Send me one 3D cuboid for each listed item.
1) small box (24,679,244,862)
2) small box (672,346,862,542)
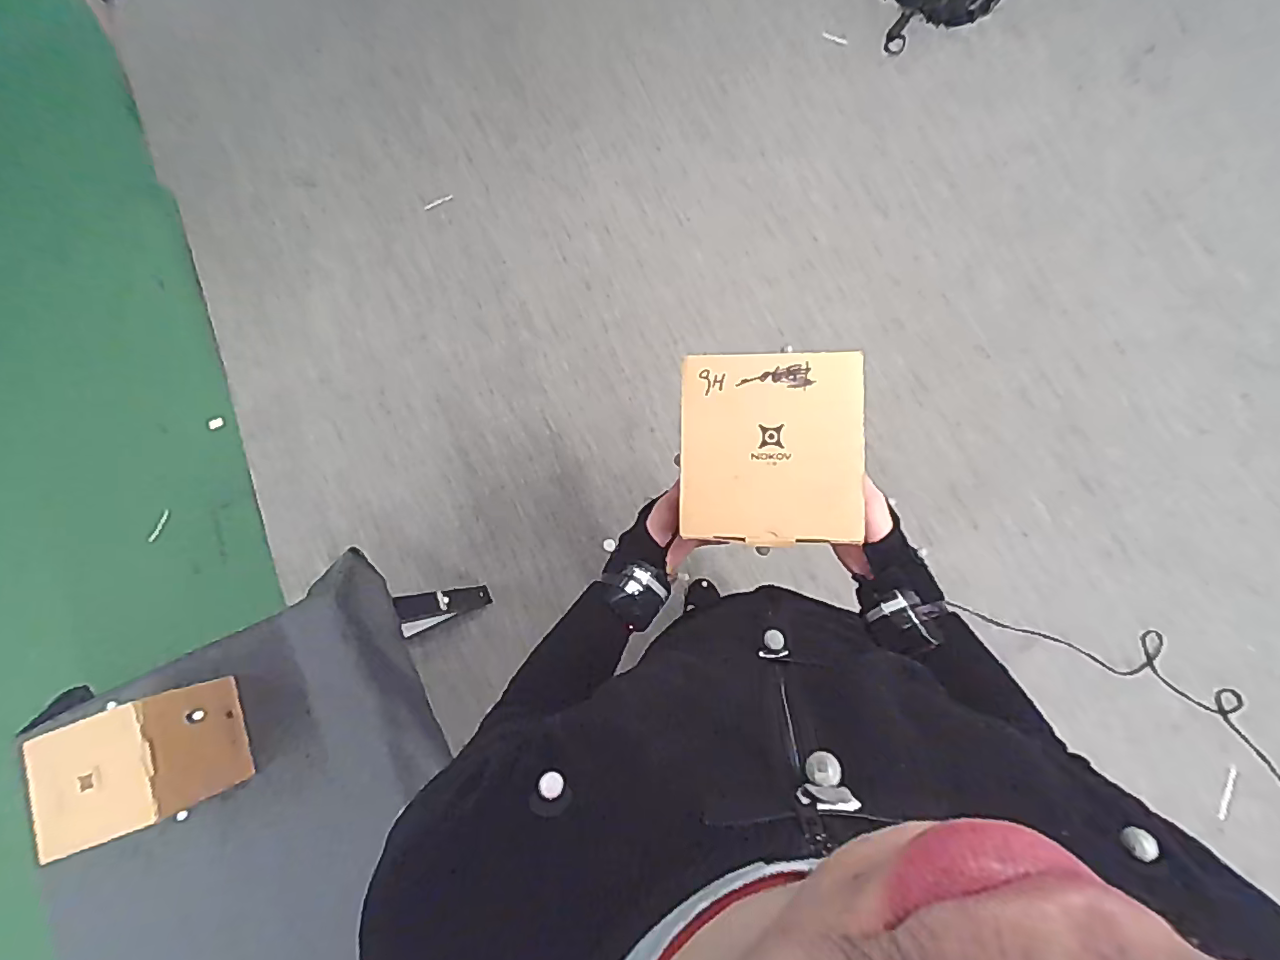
[{"bbox_3d":[-0.733,0.415,0.804,0.179,0.176,0.168,-21,78,3],"label":"small box"},{"bbox_3d":[0.126,-0.030,0.565,0.168,0.176,0.179,1,86,8],"label":"small box"}]
